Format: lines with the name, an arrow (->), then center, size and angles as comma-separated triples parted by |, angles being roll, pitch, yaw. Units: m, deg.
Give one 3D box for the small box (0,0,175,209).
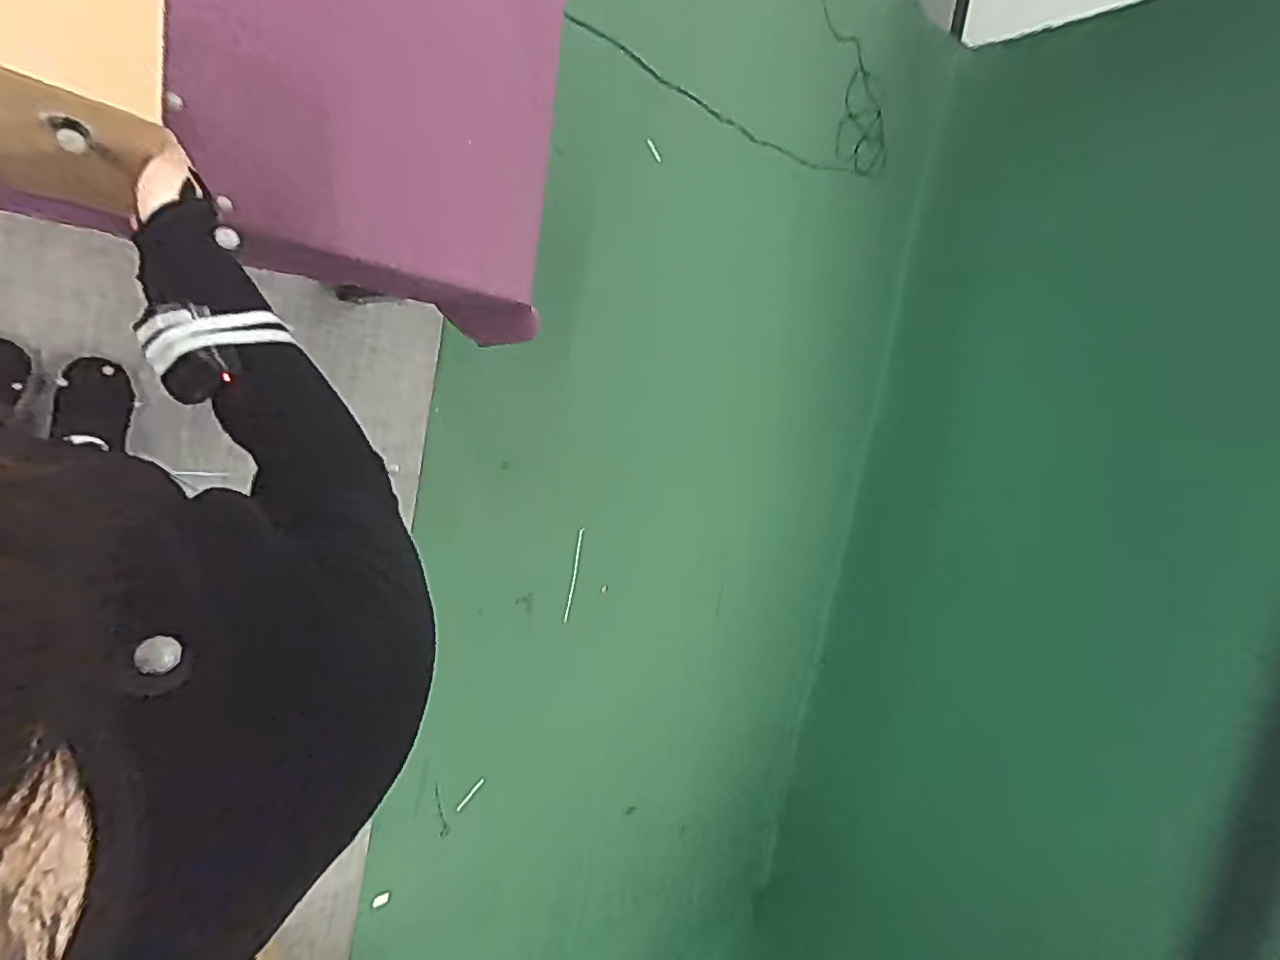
small box -> -0.462, -0.330, 0.396 | 0.179, 0.176, 0.168 | 0, 85, -43
